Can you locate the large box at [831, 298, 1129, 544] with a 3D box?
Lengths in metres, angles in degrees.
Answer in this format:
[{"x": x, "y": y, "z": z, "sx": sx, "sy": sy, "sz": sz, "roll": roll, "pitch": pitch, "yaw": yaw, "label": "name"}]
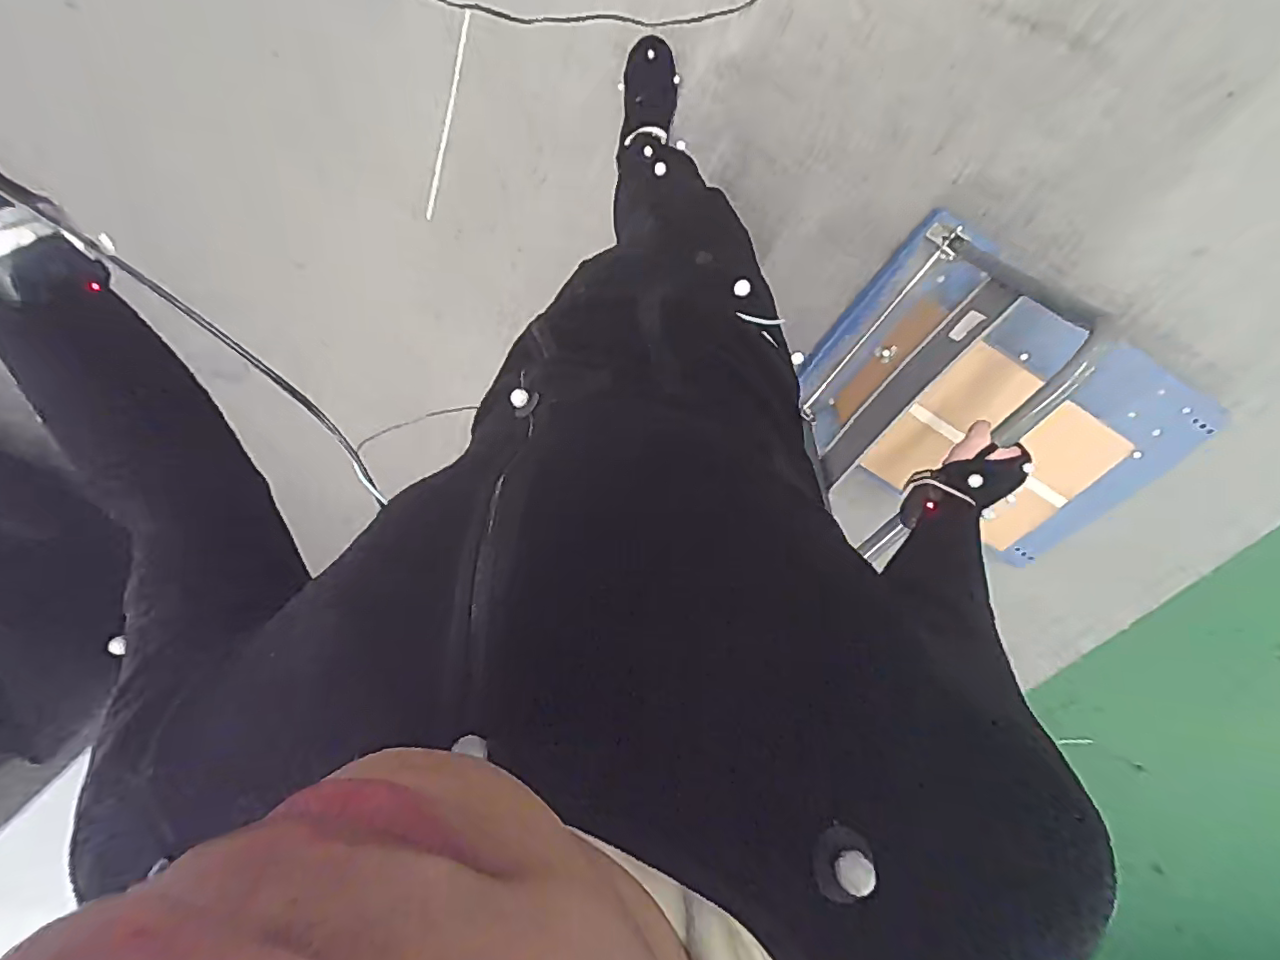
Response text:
[{"x": 0.700, "y": -0.138, "z": 1.192, "sx": 0.408, "sy": 0.320, "sz": 0.320, "roll": 30, "pitch": 123, "yaw": -9, "label": "large box"}]
